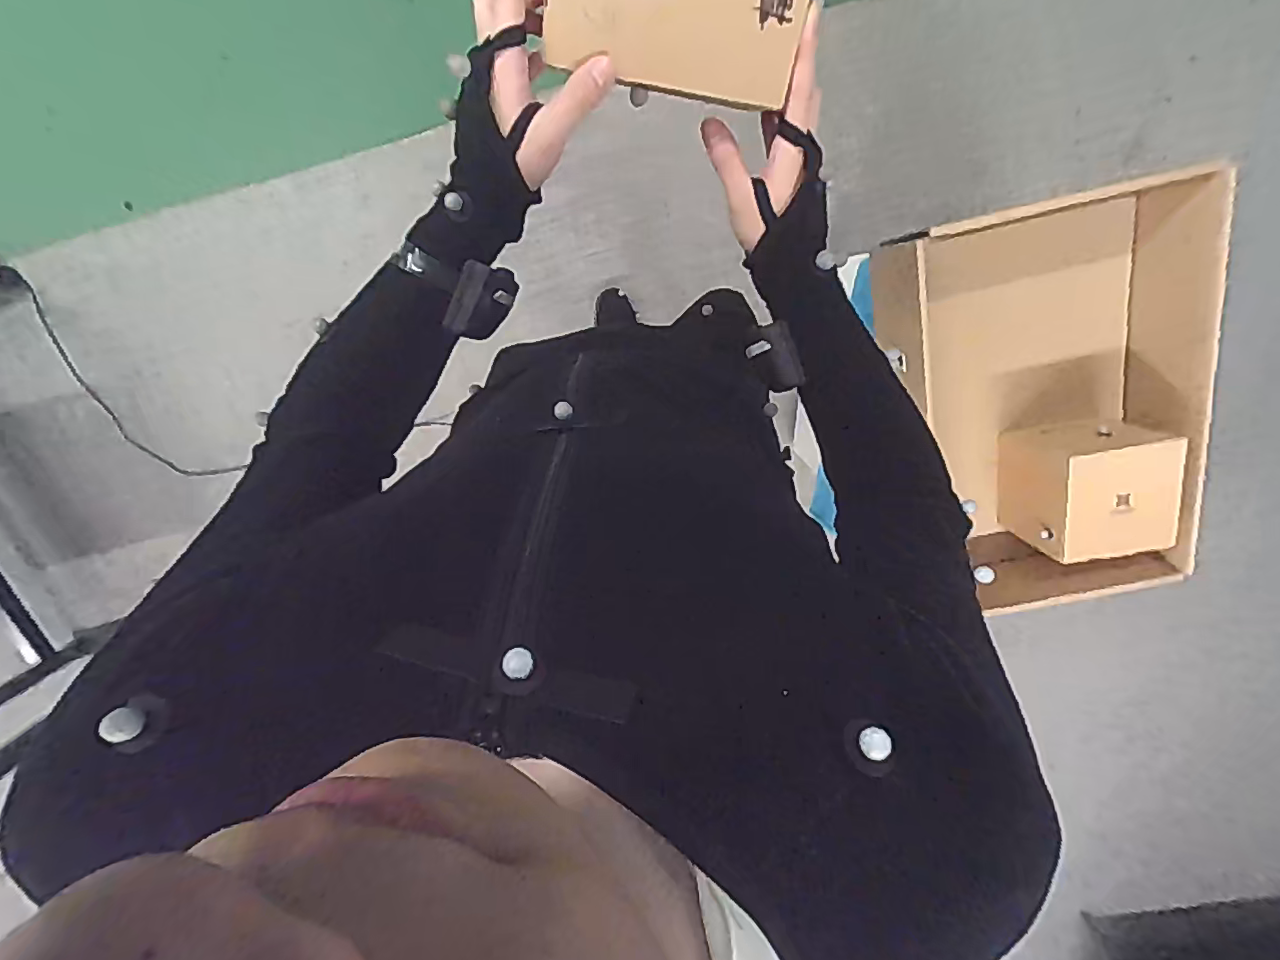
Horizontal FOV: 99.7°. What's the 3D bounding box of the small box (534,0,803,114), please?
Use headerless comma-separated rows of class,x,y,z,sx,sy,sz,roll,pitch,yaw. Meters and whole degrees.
small box,0.024,-0.385,0.404,0.179,0.176,0.168,6,125,-6
